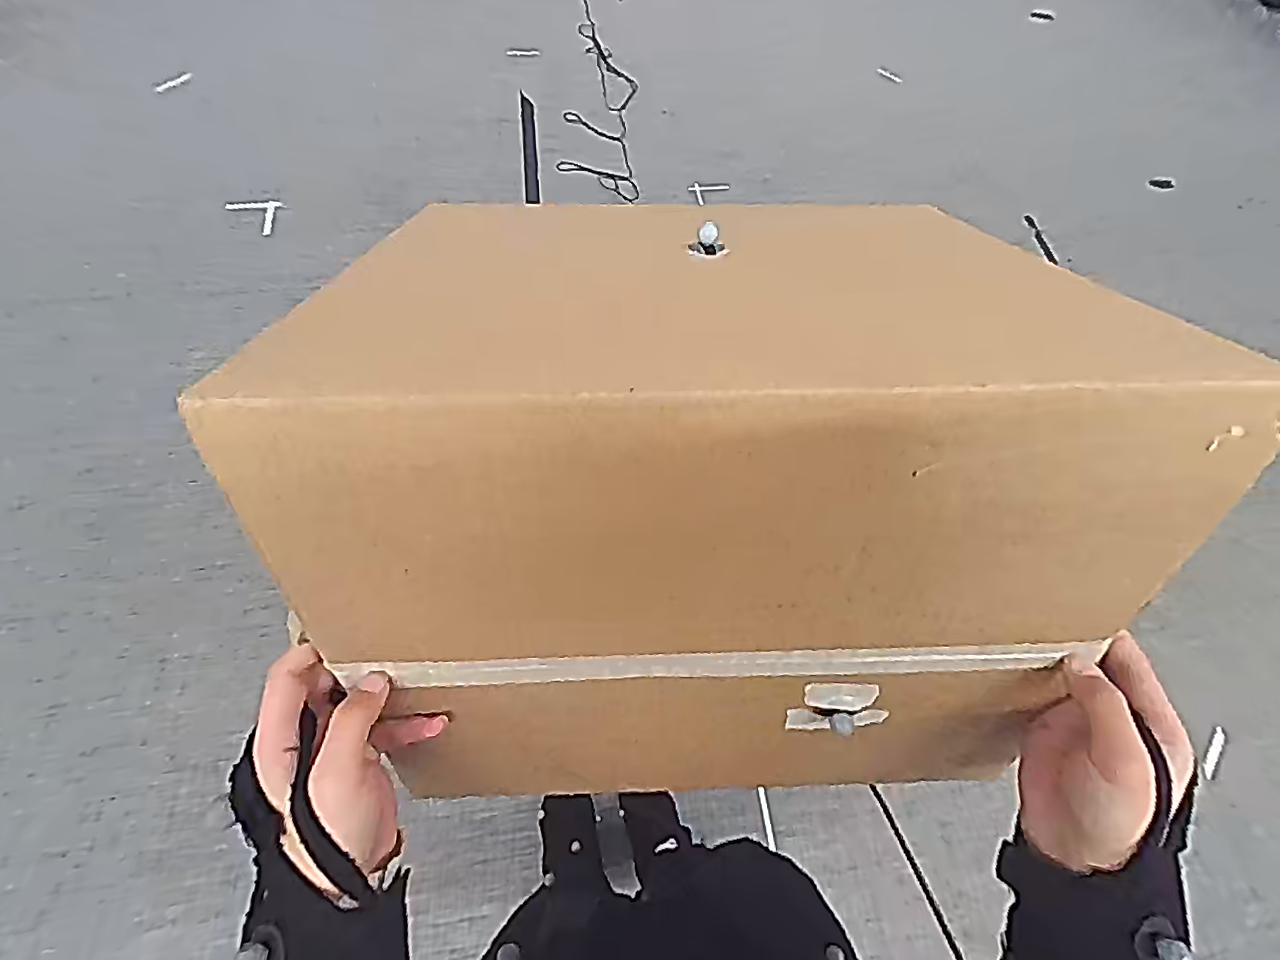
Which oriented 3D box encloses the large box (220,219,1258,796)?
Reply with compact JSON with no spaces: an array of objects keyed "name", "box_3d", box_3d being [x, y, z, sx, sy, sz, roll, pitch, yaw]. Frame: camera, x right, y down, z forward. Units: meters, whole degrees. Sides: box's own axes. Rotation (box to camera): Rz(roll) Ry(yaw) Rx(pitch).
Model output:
[{"name":"large box","box_3d":[0.035,0.003,0.410,0.408,0.320,0.320,-2,39,-2]}]
